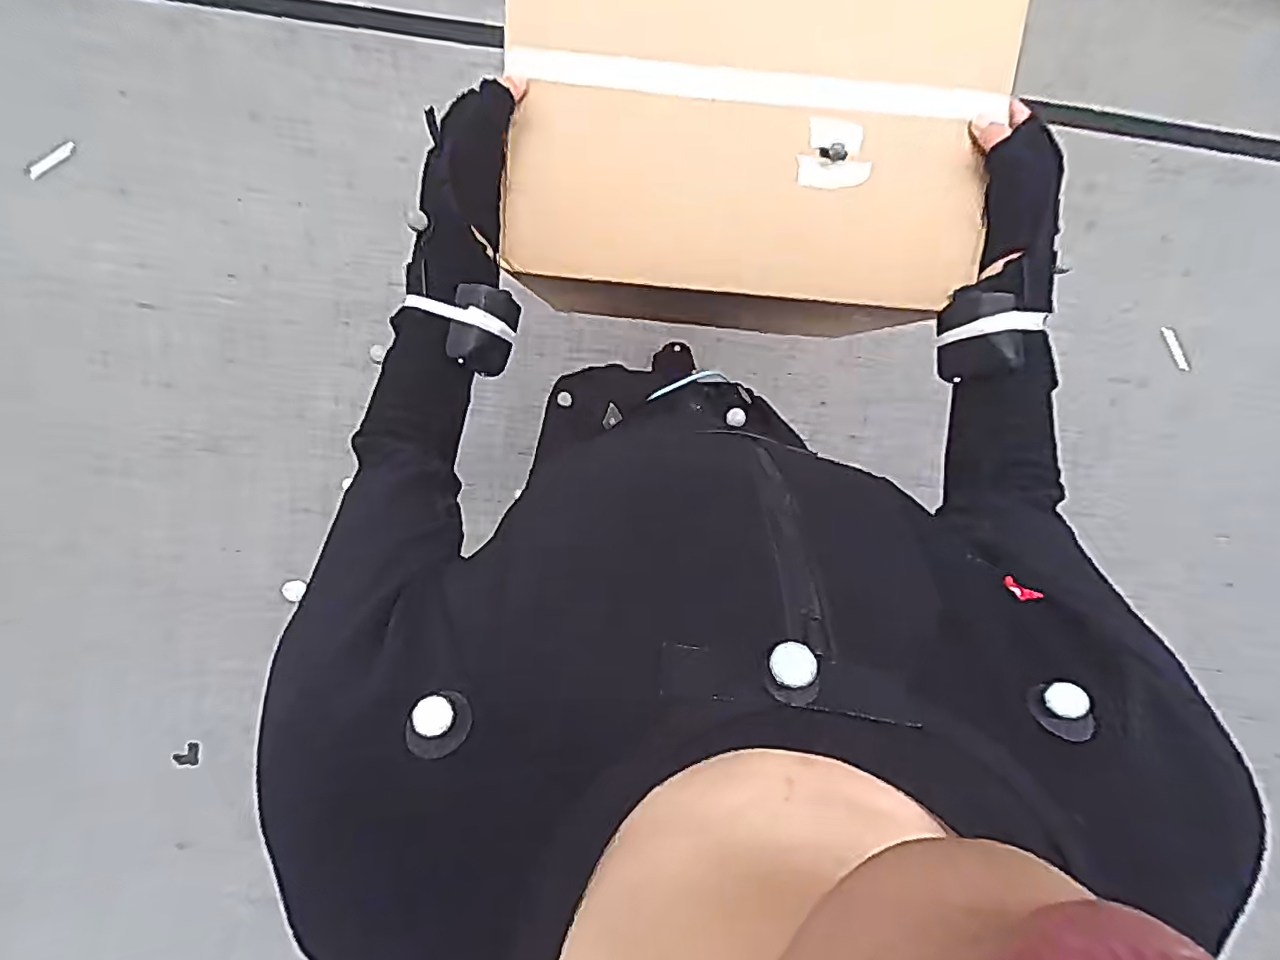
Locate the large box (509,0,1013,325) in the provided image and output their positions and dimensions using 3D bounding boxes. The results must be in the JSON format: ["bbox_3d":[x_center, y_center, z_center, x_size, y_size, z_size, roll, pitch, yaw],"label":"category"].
[{"bbox_3d":[0.090,-0.352,0.588,0.408,0.320,0.320,5,103,-2],"label":"large box"}]
